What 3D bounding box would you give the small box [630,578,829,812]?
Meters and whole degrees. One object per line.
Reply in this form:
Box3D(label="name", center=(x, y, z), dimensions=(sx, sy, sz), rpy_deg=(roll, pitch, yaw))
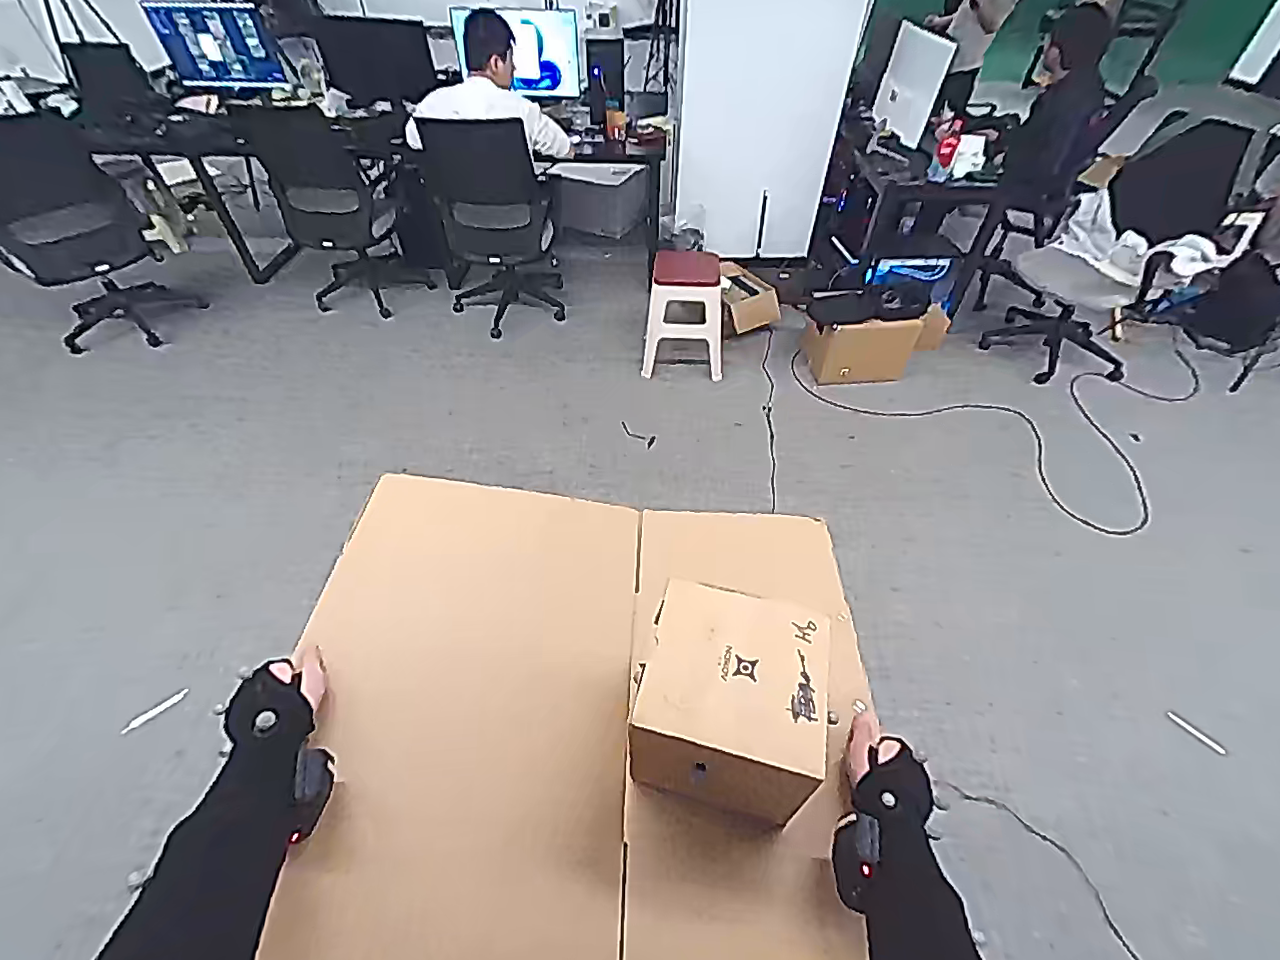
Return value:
Box3D(label="small box", center=(0.097, 0.236, 0.592), dimensions=(0.179, 0.176, 0.168), rpy_deg=(11, 47, 11))
